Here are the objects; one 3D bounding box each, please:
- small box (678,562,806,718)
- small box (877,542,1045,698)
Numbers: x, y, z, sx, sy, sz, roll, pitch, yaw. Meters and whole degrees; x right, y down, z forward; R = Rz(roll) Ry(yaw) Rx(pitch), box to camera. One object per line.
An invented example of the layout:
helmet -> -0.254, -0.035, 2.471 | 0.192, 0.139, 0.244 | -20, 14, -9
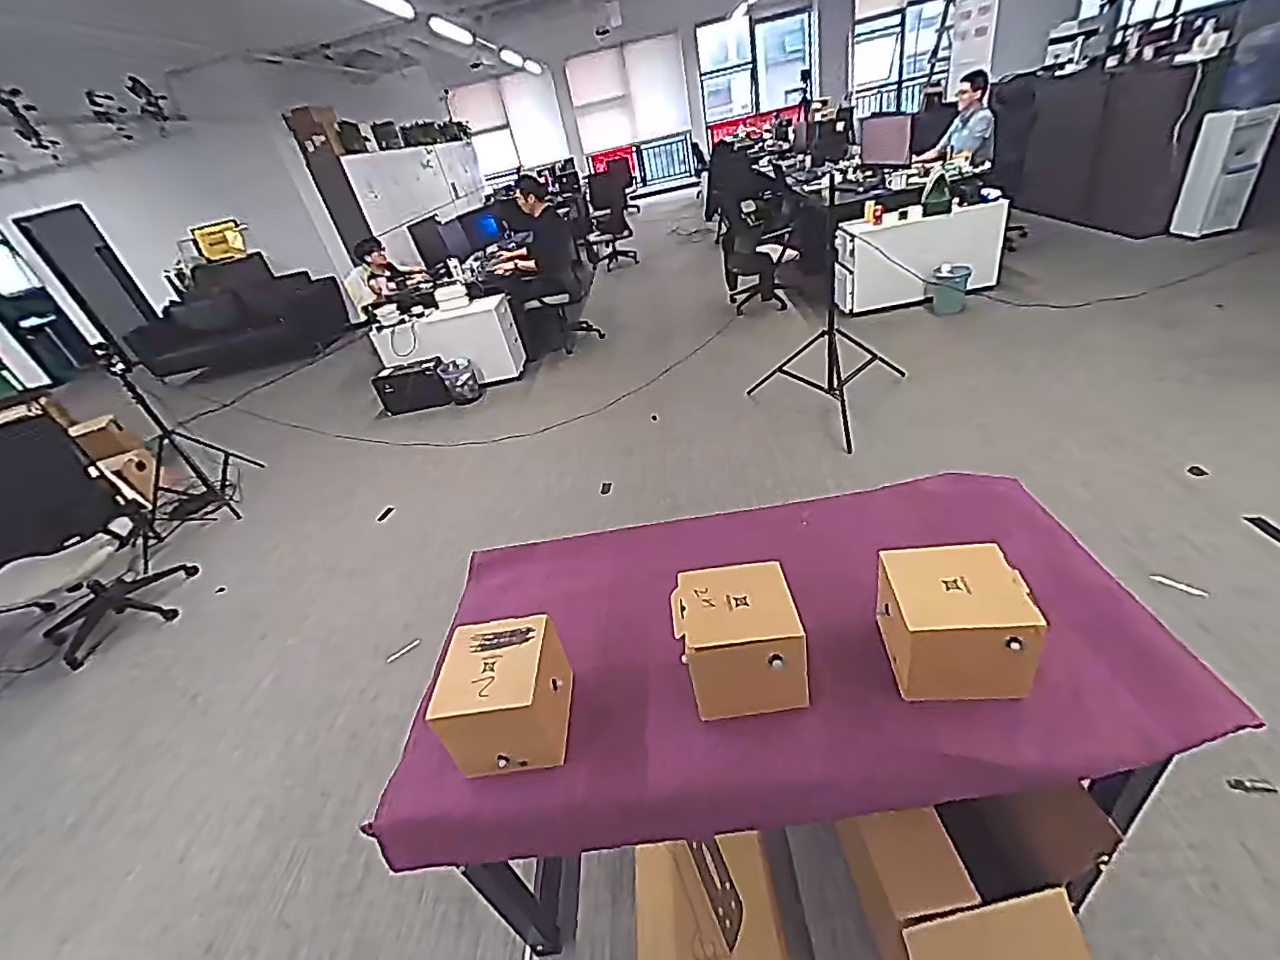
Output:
small box -> 0.165, 0.261, 0.885 | 0.179, 0.176, 0.168 | -10, 31, 5
small box -> 0.477, 0.219, 0.837 | 0.179, 0.176, 0.168 | -6, 34, 11
